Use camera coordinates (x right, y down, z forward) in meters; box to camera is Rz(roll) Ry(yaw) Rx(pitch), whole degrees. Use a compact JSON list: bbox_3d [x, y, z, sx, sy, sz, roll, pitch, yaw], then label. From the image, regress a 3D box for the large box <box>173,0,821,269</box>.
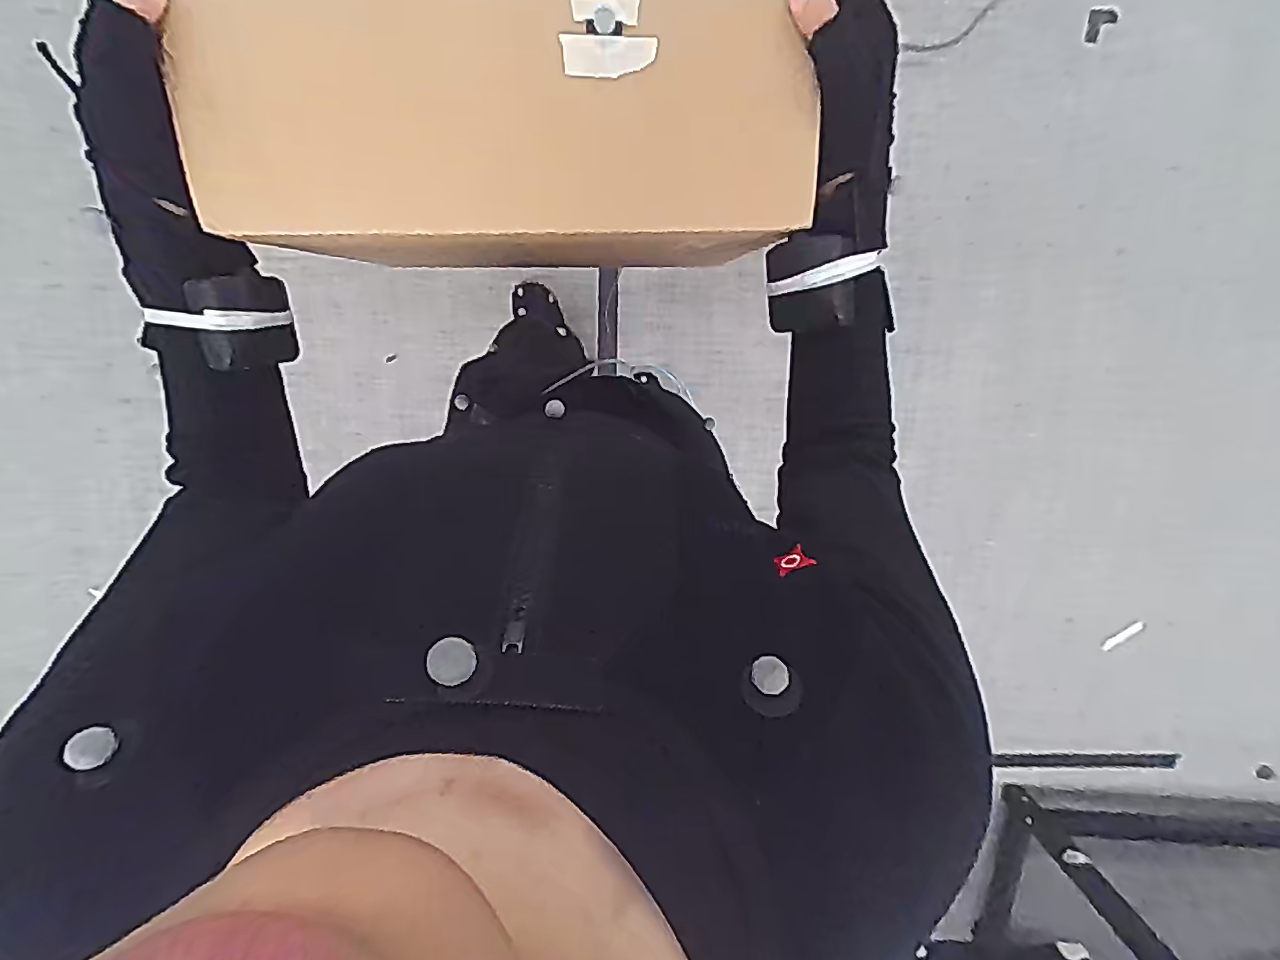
[{"bbox_3d":[-0.092,-0.362,0.468,0.408,0.320,0.320,-2,109,-3],"label":"large box"}]
